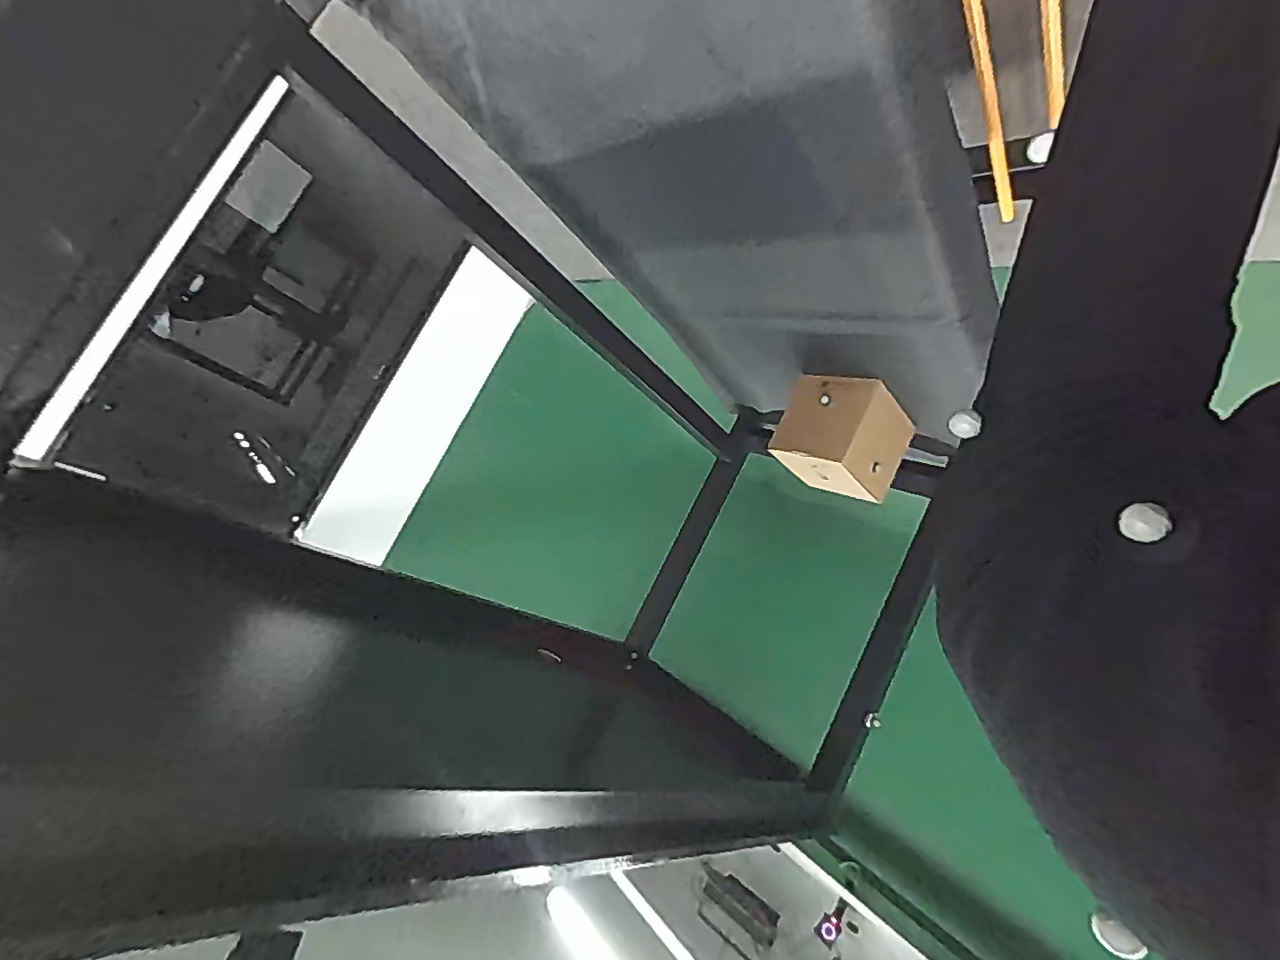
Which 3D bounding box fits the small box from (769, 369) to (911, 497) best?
[{"bbox_3d":[0.389,-0.093,1.039,0.179,0.176,0.168,33,172,-38],"label":"small box"}]
